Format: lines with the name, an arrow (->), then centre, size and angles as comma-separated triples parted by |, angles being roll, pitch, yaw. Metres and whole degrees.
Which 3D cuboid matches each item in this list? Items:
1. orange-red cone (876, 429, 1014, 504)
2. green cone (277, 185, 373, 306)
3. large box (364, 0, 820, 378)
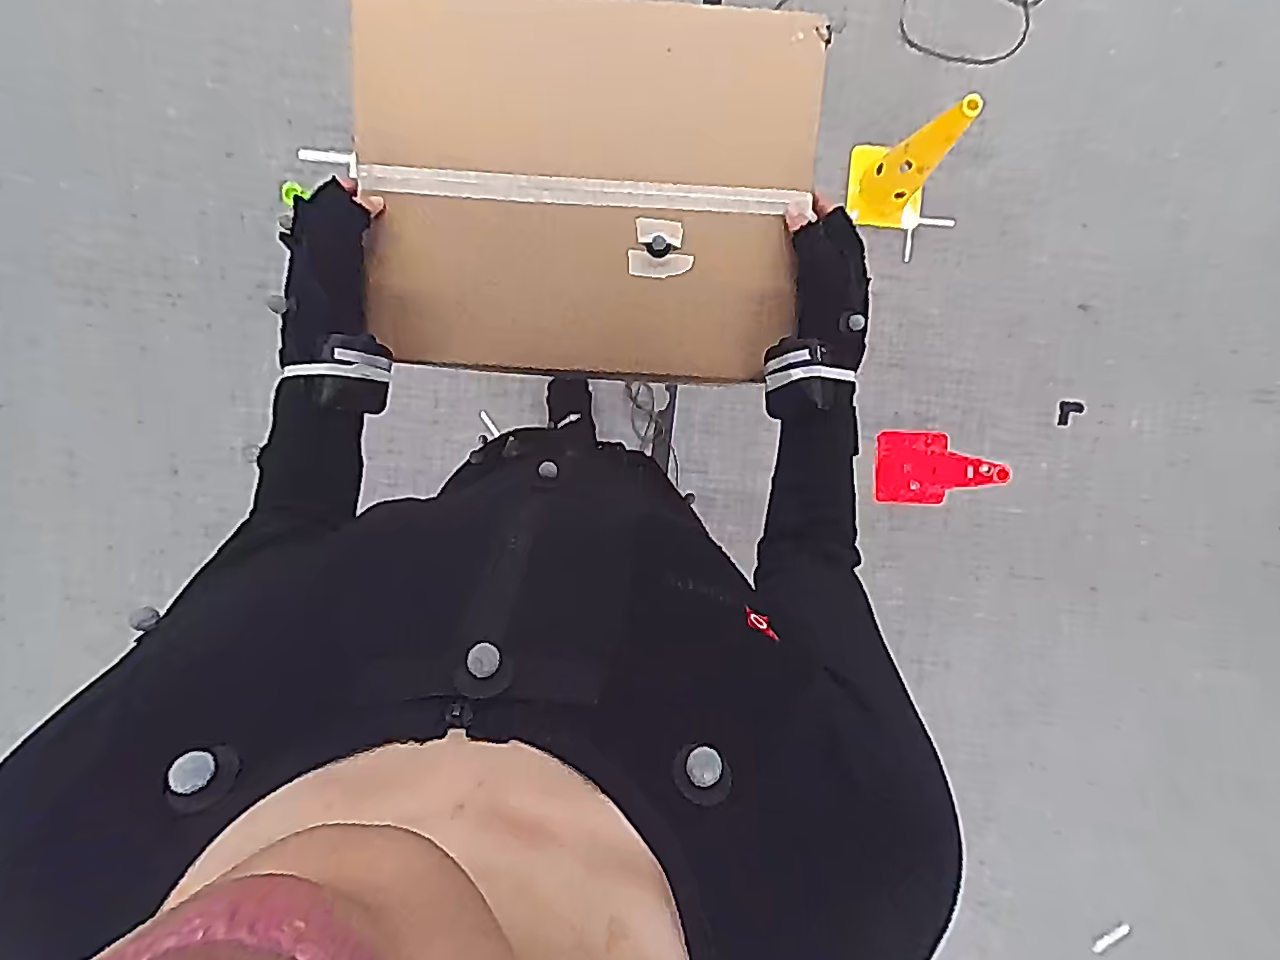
orange-red cone -> 0.760, -0.030, 1.315 | 0.198, 0.360, 0.199 | 3, 92, -4
green cone -> -0.678, -0.565, 1.214 | 0.202, 0.368, 0.200 | -32, 94, 1
large box -> -0.051, -0.289, 0.637 | 0.408, 0.320, 0.320 | 3, 99, -3
